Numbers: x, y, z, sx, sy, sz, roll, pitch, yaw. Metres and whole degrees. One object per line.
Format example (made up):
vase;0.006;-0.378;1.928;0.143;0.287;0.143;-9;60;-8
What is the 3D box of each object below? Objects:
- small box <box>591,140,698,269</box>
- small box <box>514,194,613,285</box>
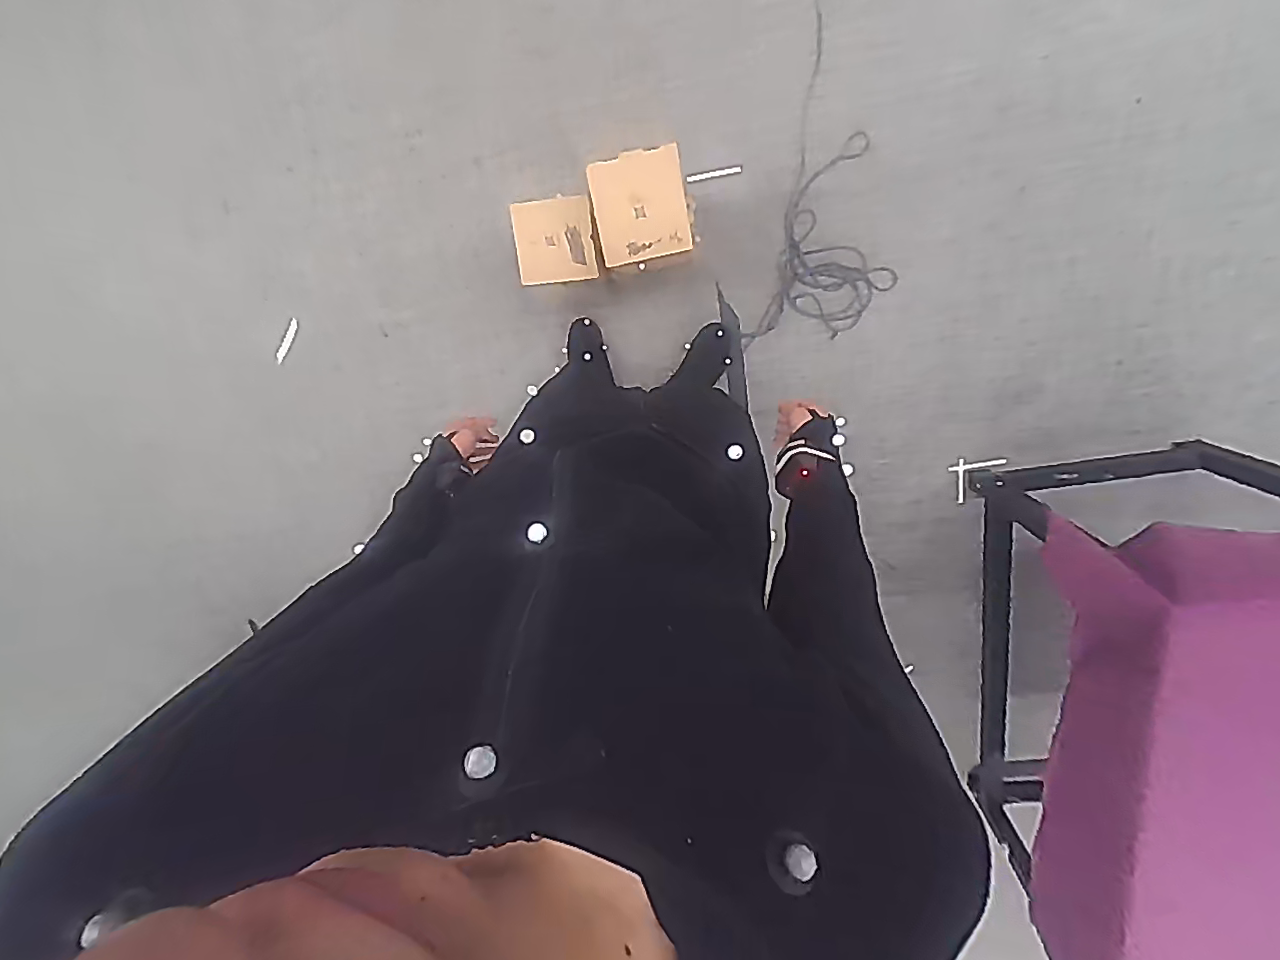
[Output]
small box;0.016;-0.510;1.027;0.168;0.176;0.179;-8;108;11
small box;-0.162;-0.535;1.218;0.179;0.176;0.168;-2;109;10
